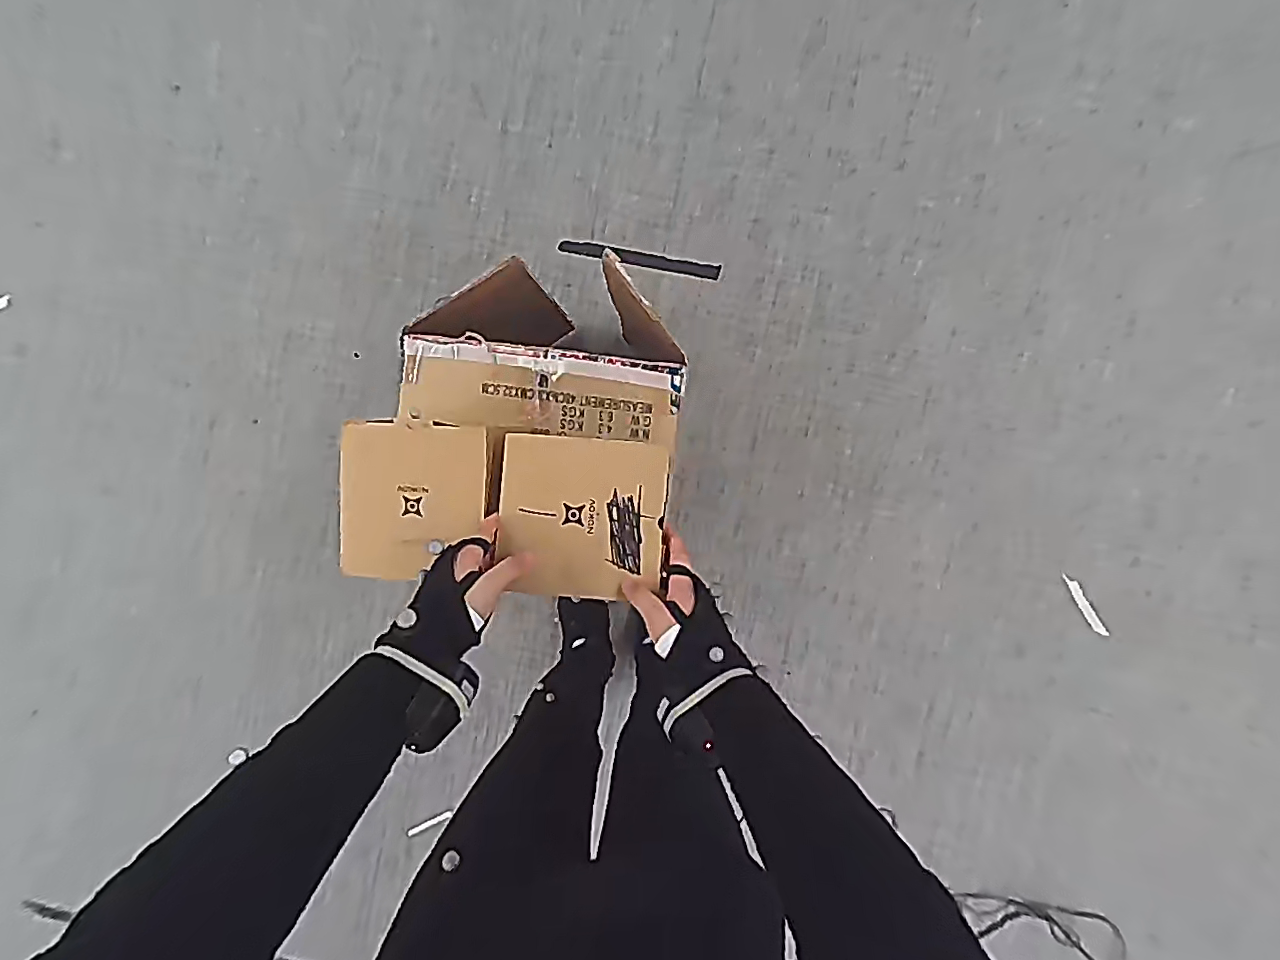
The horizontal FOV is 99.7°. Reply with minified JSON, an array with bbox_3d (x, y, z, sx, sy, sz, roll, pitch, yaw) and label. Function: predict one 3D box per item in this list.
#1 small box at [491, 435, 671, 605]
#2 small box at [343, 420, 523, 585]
[{"bbox_3d":[-0.058,0.046,0.640,0.179,0.176,0.168,4,85,3],"label":"small box"},{"bbox_3d":[-0.239,0.017,0.669,0.168,0.176,0.179,3,97,5],"label":"small box"}]
